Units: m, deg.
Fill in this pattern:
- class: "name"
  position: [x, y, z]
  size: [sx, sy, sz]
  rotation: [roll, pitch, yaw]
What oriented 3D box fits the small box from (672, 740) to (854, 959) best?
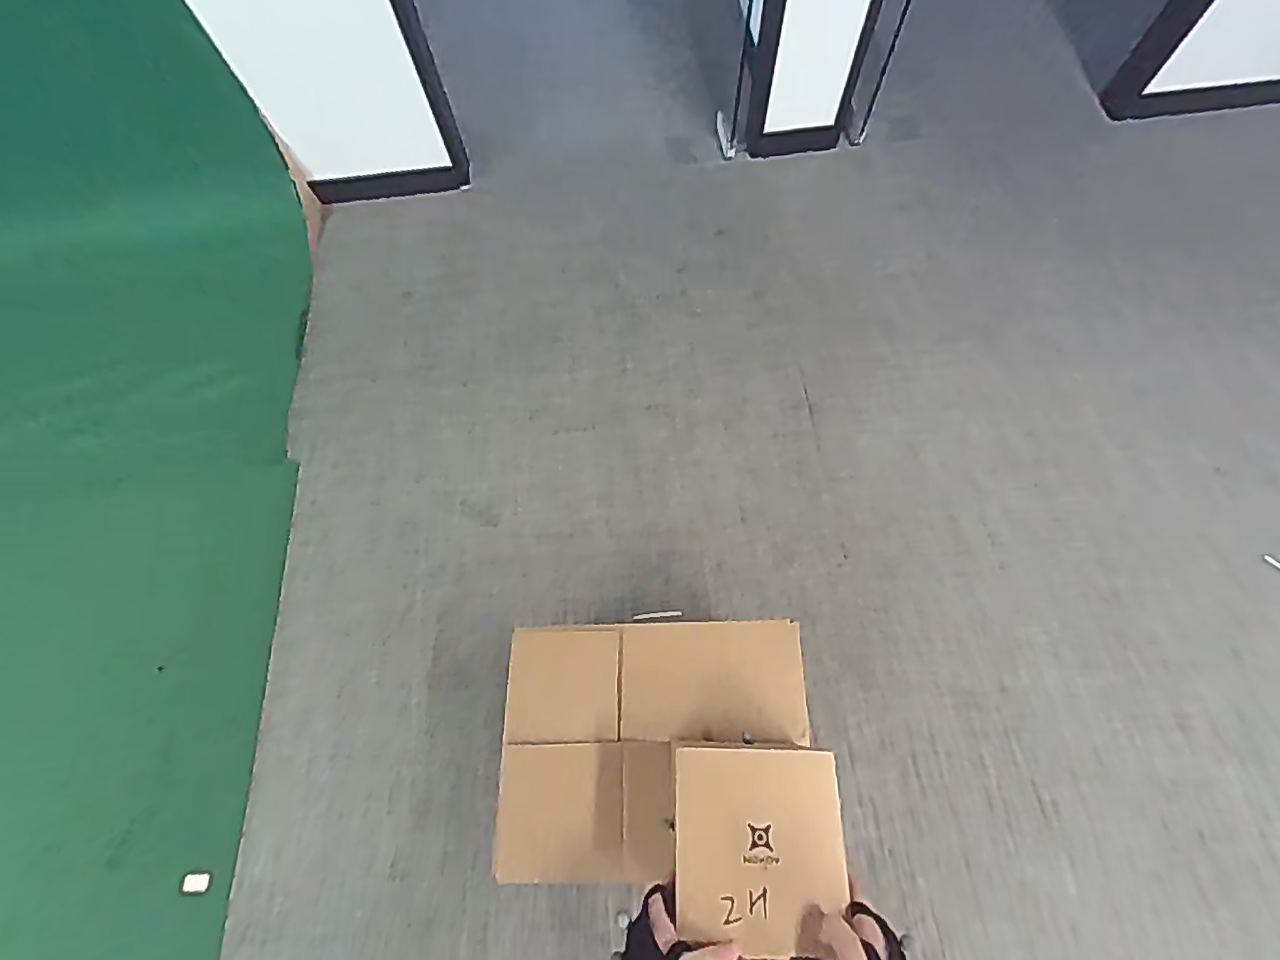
- class: "small box"
  position: [0.120, 0.389, 0.603]
  size: [0.168, 0.176, 0.179]
  rotation: [0, 67, 3]
